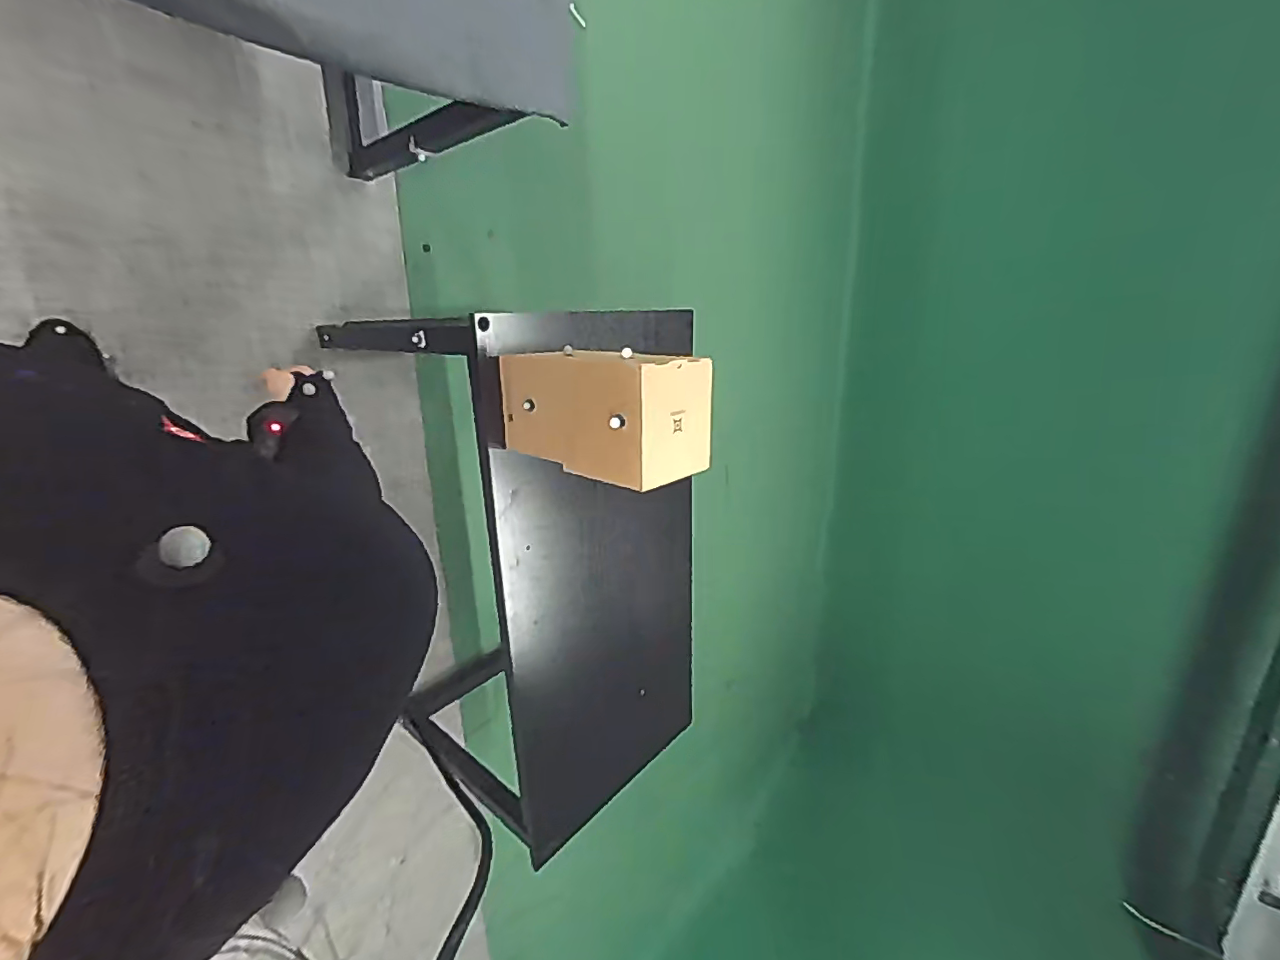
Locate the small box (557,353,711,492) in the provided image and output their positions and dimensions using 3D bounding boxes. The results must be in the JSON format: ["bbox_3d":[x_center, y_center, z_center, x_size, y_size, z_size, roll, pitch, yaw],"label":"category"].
[{"bbox_3d":[-0.011,-0.098,0.824,0.168,0.176,0.179,-18,114,-46],"label":"small box"}]

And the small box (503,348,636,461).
[{"bbox_3d":[-0.123,-0.138,0.936,0.179,0.176,0.168,-19,116,-46],"label":"small box"}]
